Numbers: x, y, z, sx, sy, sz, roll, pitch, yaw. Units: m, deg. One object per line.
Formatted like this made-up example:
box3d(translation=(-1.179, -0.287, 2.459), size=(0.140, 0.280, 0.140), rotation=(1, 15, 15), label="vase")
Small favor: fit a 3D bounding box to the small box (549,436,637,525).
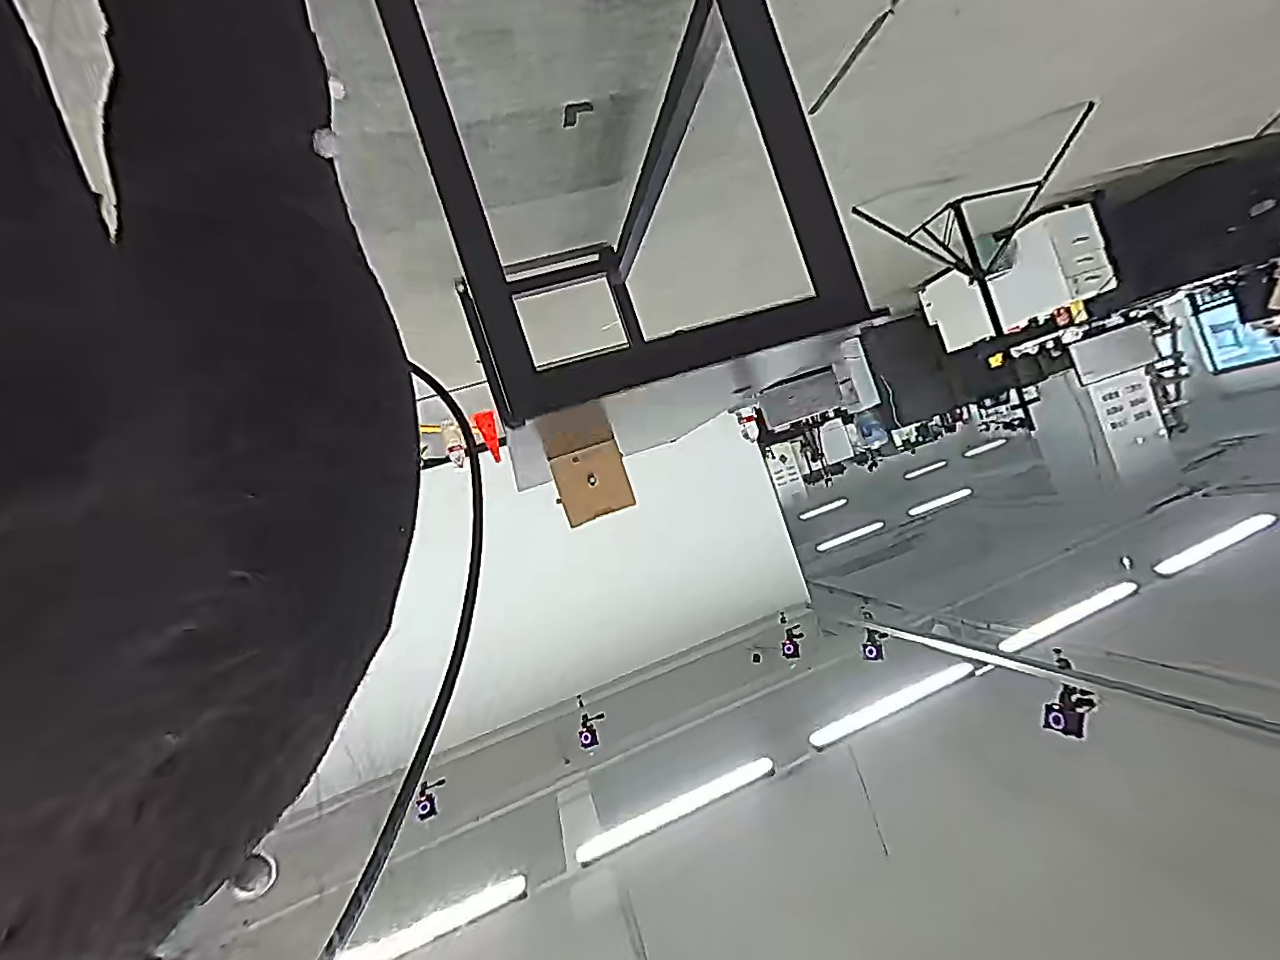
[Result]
box3d(translation=(-0.120, 0.001, 1.331), size=(0.168, 0.176, 0.179), rotation=(-20, 178, -9), label="small box")
